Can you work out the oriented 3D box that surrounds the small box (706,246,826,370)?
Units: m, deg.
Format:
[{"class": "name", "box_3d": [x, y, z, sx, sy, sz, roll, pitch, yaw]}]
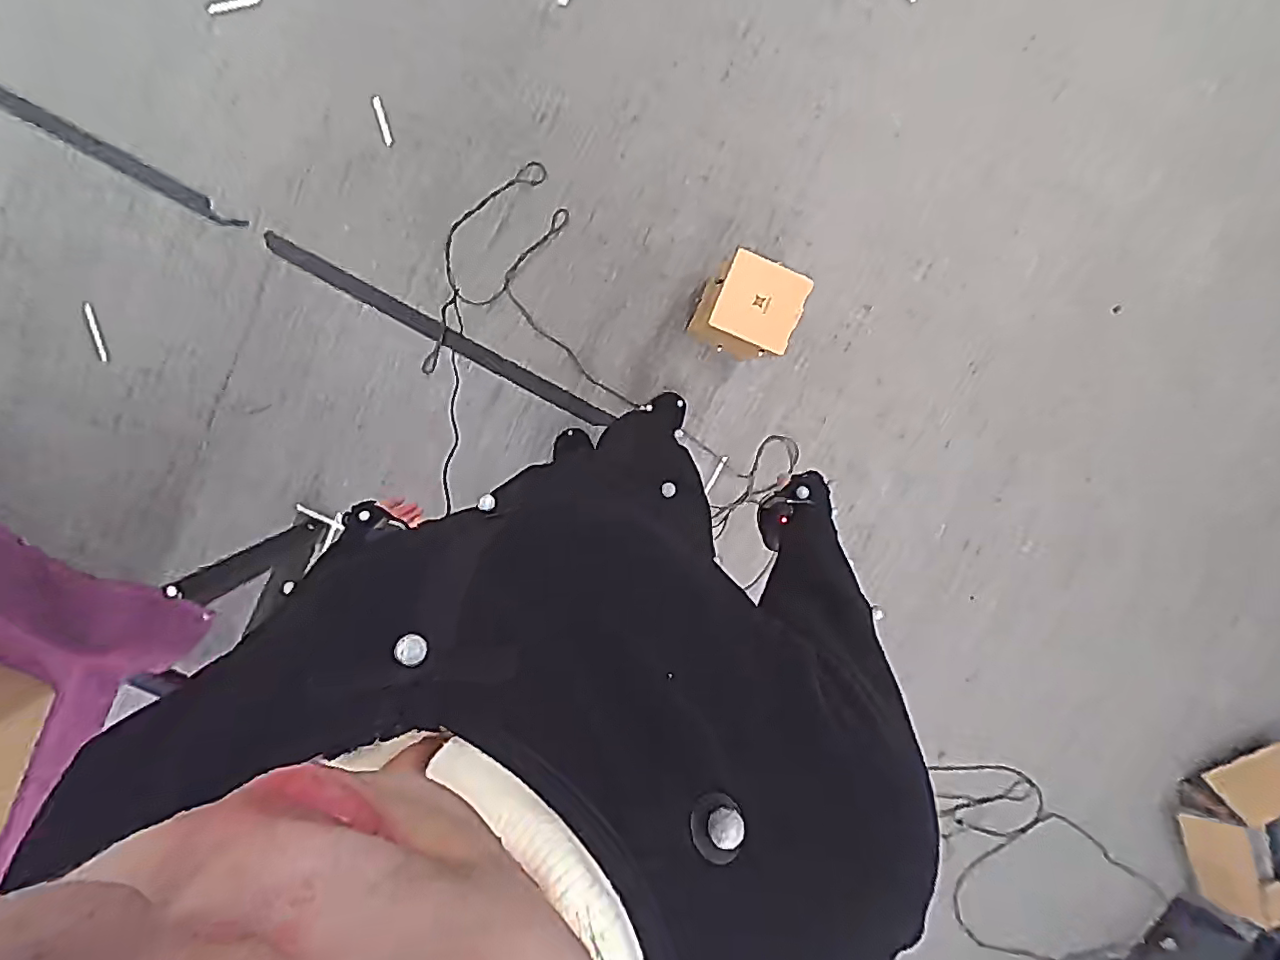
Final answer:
[{"class": "small box", "box_3d": [0.268, -0.360, 1.156, 0.168, 0.176, 0.179, 18, 82, -24]}]
